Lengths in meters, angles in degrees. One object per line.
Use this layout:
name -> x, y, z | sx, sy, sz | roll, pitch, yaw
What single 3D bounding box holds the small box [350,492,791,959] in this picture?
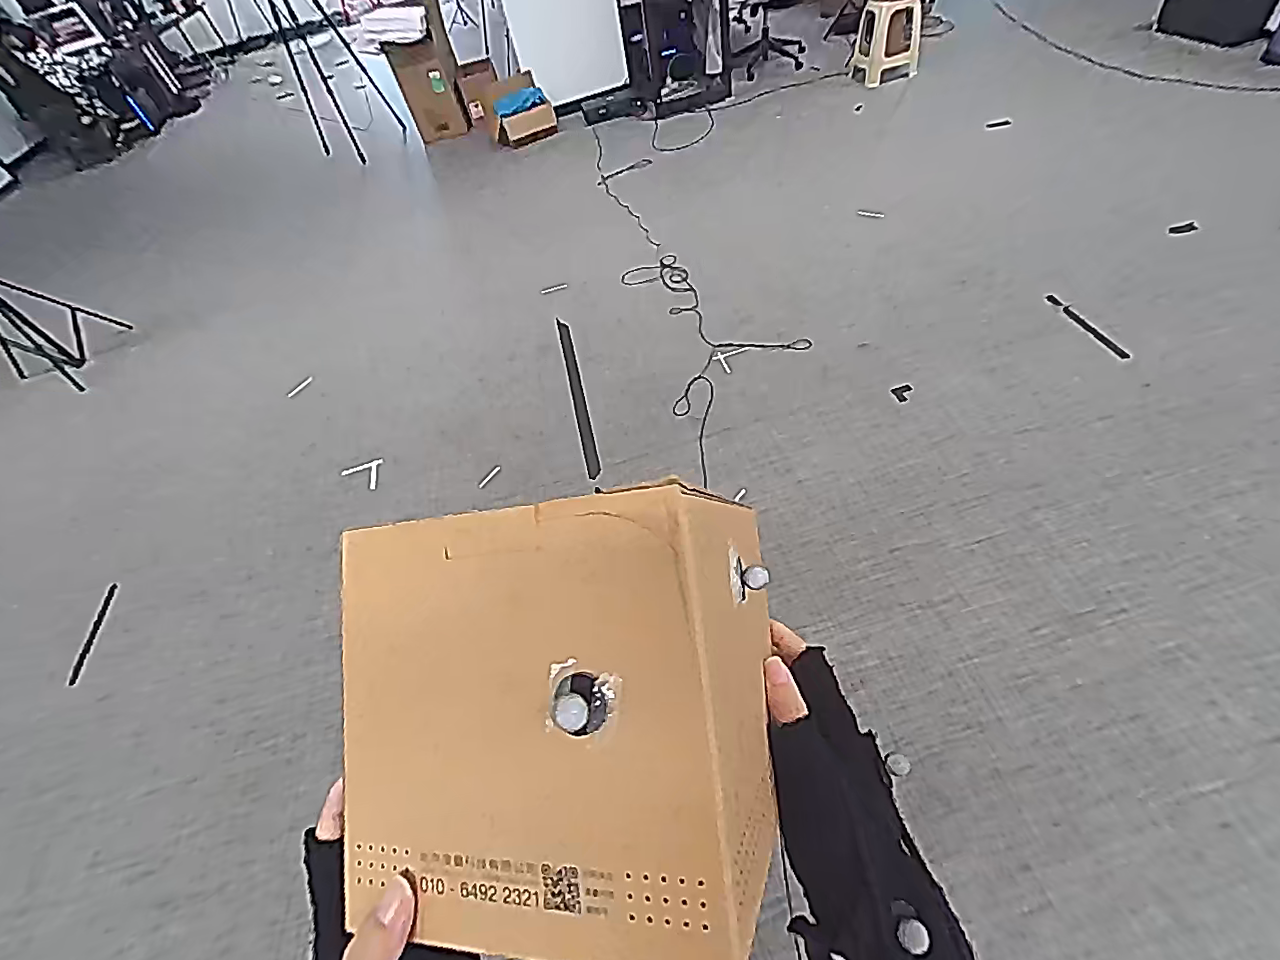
small box -> -0.020, 0.106, 0.289 | 0.168, 0.179, 0.176 | -9, 81, 21
